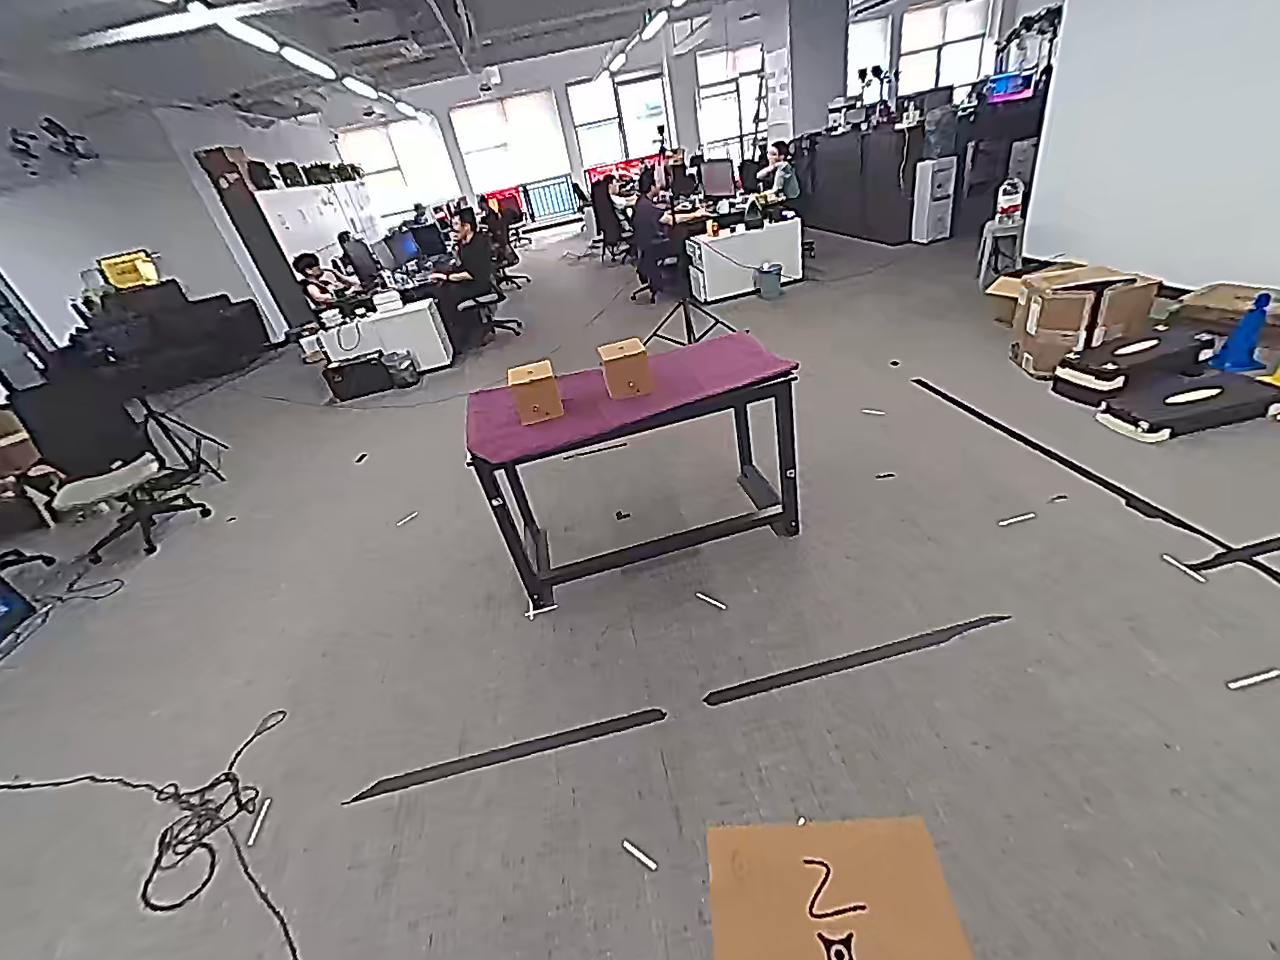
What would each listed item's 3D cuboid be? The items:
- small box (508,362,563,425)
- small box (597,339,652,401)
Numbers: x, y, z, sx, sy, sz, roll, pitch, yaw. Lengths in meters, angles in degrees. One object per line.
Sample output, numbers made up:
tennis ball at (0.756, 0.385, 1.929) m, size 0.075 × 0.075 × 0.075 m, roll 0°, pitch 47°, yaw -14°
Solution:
small box at (-0.398, -0.330, 2.060) m, size 0.168 × 0.176 × 0.179 m, roll -15°, pitch 33°, yaw -6°
small box at (-0.059, -0.426, 2.089) m, size 0.168 × 0.176 × 0.179 m, roll -16°, pitch 32°, yaw -4°
